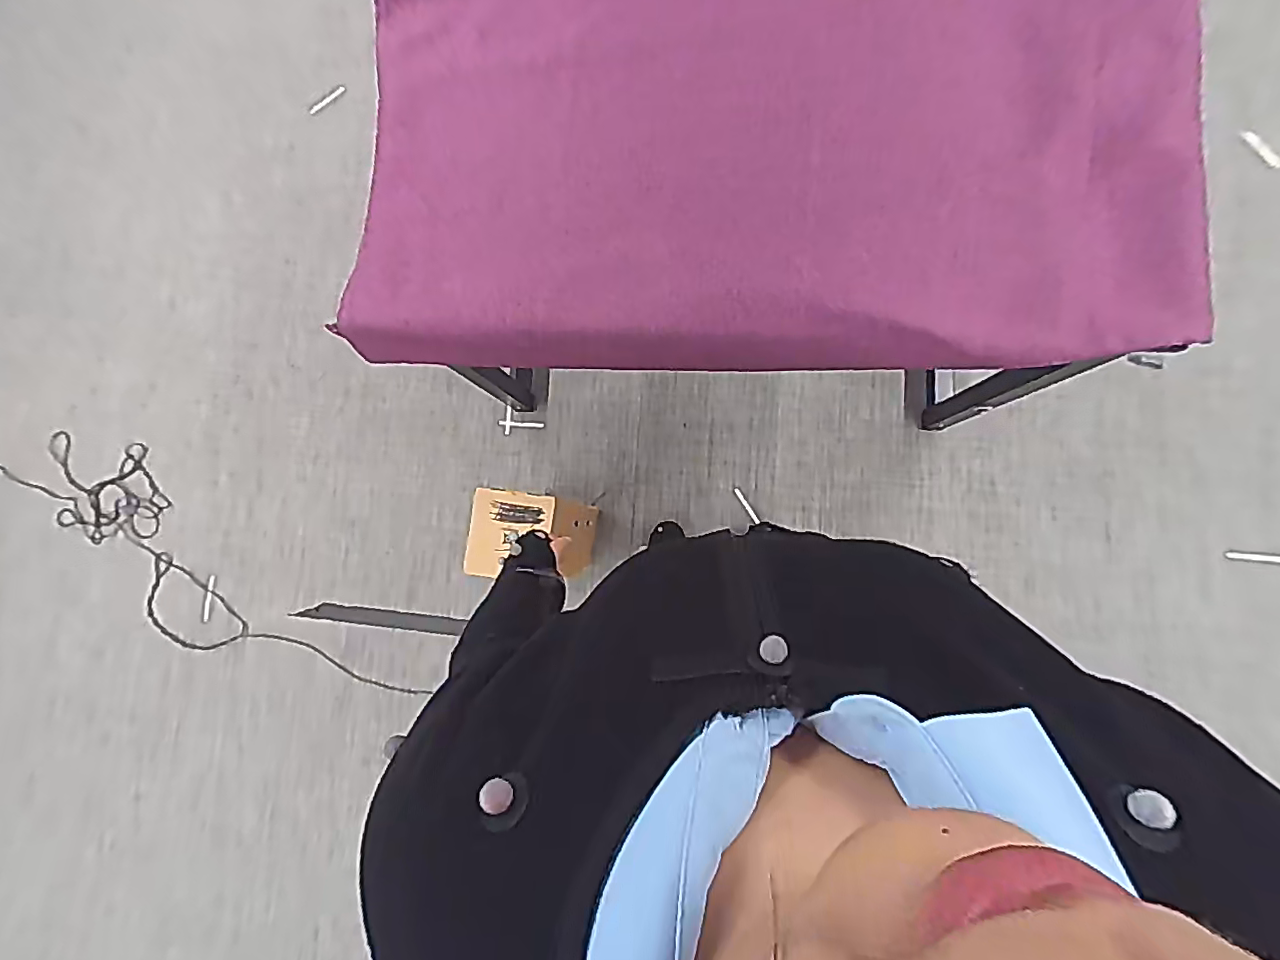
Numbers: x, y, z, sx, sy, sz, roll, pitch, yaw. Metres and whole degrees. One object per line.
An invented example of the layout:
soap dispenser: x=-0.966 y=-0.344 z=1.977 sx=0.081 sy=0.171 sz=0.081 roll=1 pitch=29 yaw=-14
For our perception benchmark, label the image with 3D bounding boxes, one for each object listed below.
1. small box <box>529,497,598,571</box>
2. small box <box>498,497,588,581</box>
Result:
small box: x=-0.216 y=0.150 z=1.463 sx=0.168 sy=0.176 sz=0.179 roll=10 pitch=86 yaw=6
small box: x=-0.224 y=0.140 z=1.298 sx=0.168 sy=0.176 sz=0.179 roll=5 pitch=86 yaw=6
